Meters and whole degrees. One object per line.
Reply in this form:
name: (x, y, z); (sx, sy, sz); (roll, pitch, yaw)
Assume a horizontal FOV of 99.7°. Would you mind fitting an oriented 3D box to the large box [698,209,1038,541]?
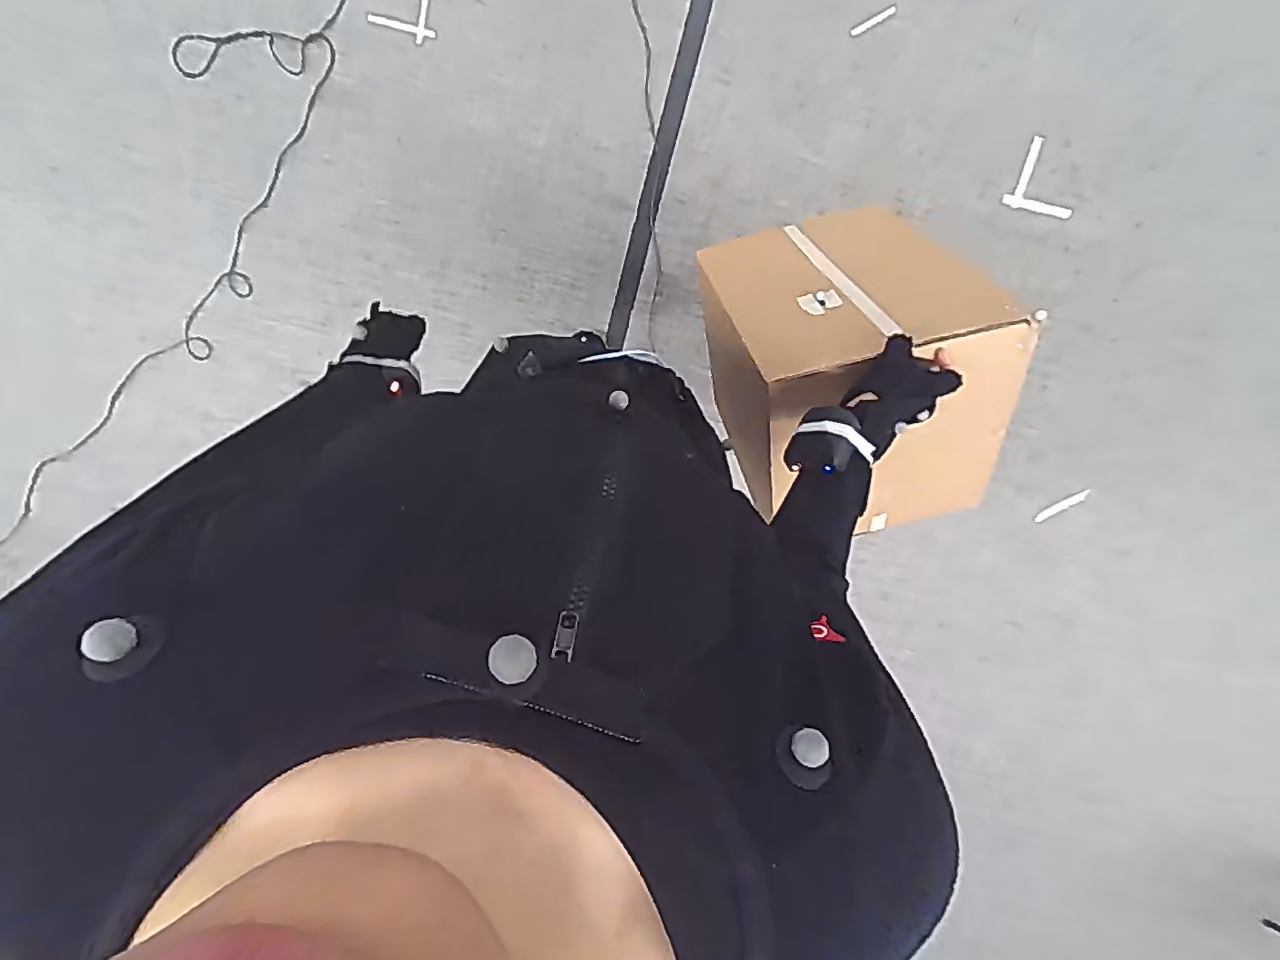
large box: (0.300, -0.174, 0.856); (0.320, 0.408, 0.320); (-14, 134, 3)
